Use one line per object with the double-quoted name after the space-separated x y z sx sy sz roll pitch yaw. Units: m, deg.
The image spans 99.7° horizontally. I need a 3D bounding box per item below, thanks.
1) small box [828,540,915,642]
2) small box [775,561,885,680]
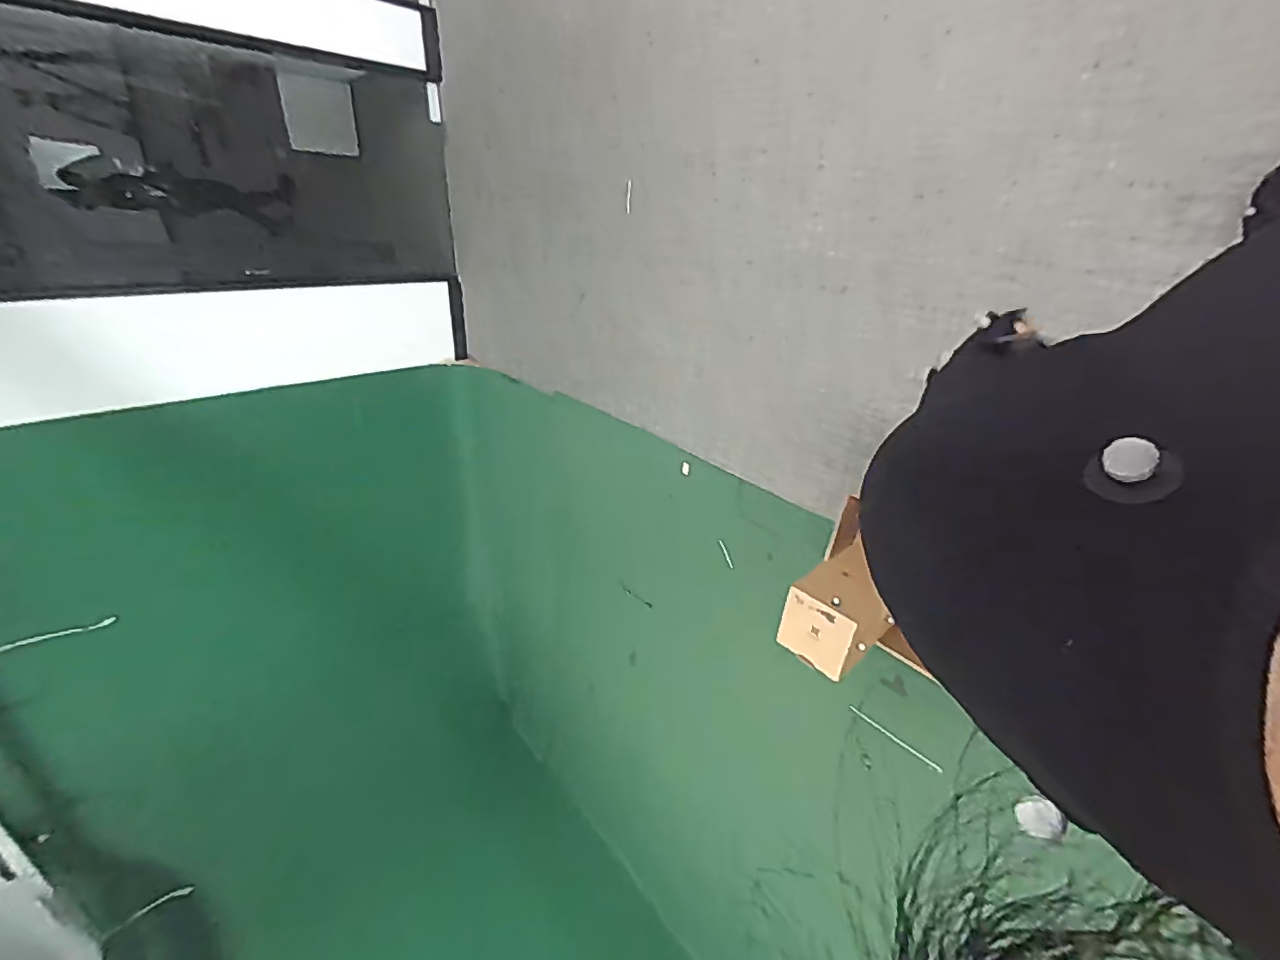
0.567 0.283 1.373 0.168 0.176 0.179 32 126 37 "small box"
0.446 0.323 1.269 0.168 0.176 0.179 29 126 39 "small box"
